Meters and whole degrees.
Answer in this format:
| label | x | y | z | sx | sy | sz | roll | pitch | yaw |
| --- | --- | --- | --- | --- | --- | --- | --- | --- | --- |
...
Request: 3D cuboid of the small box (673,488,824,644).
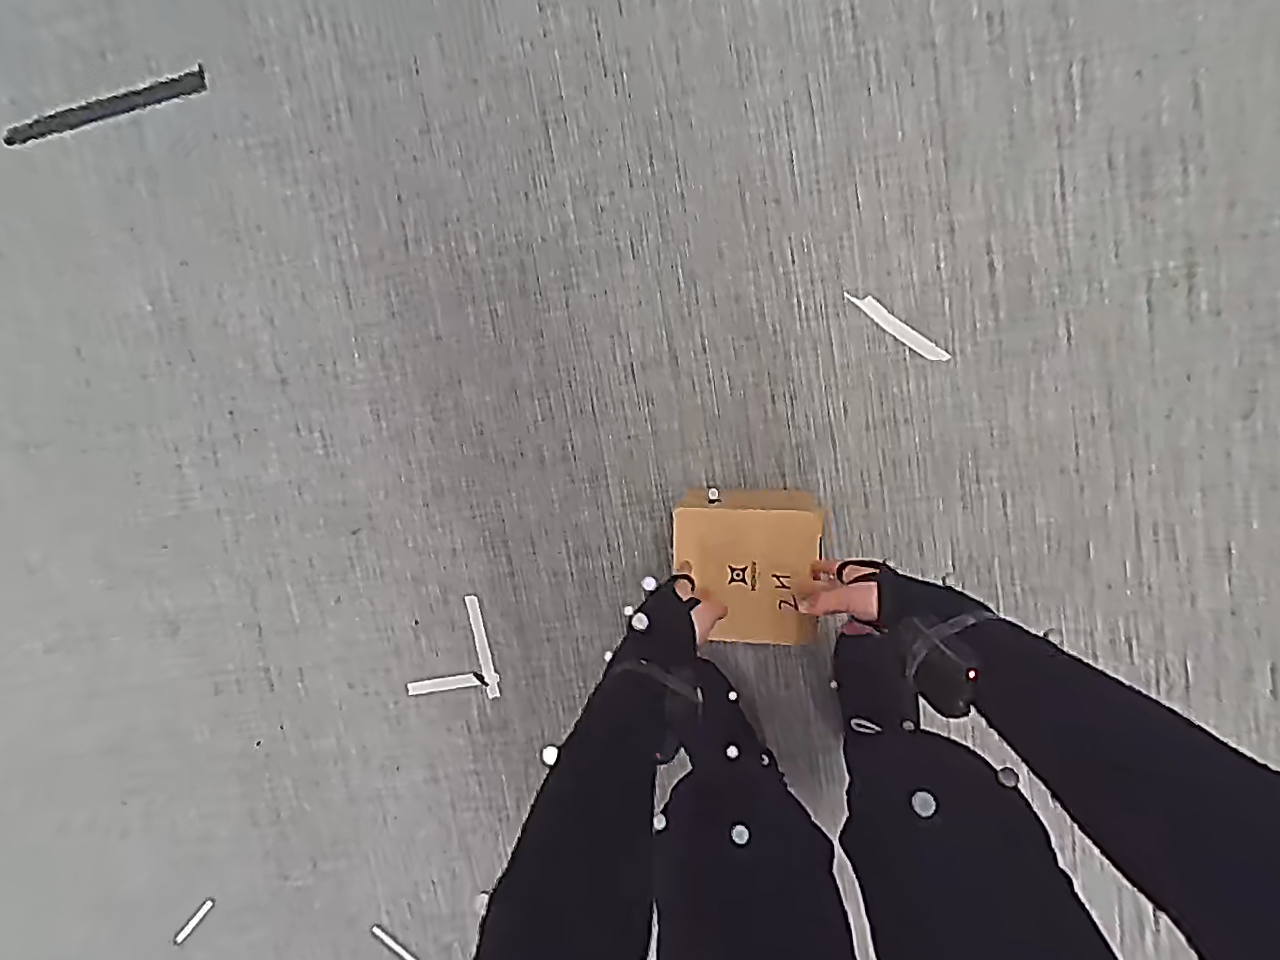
| label | x | y | z | sx | sy | sz | roll | pitch | yaw |
| --- | --- | --- | --- | --- | --- | --- | --- | --- | --- |
| small box | 0.141 | 0.104 | 0.725 | 0.179 | 0.176 | 0.168 | 1 | 97 | 10 |
